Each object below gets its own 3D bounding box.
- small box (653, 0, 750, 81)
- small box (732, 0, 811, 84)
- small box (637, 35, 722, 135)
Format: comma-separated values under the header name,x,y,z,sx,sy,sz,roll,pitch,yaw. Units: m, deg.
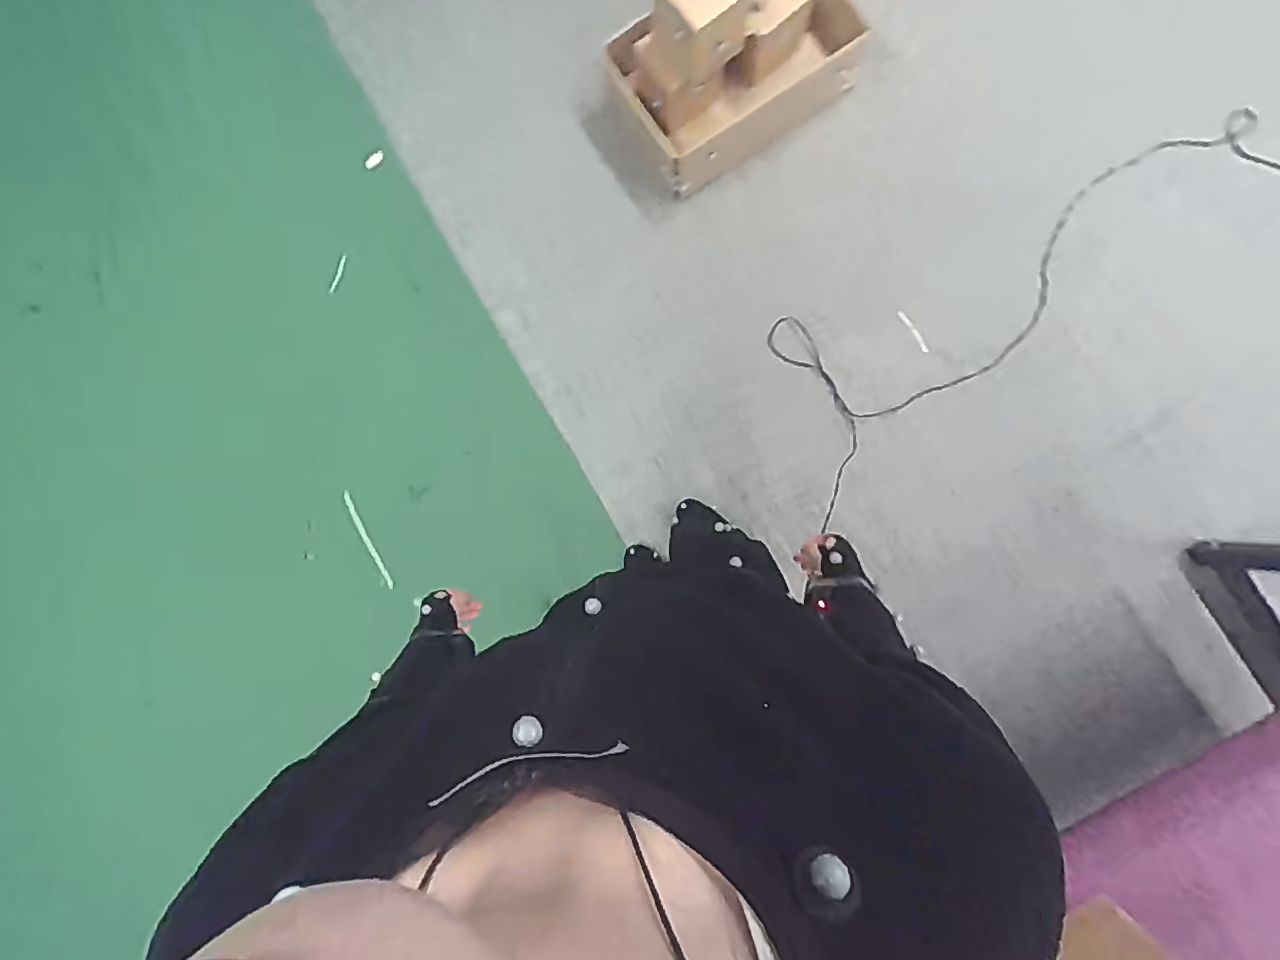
name,x,y,z,sx,sy,sz,roll,pitch,yaw
small box,0.149,-1.122,1.313,0.168,0.176,0.179,-38,85,0
small box,0.337,-1.237,1.465,0.179,0.176,0.168,-40,84,2
small box,0.112,-1.099,1.478,0.179,0.176,0.168,-36,85,0
